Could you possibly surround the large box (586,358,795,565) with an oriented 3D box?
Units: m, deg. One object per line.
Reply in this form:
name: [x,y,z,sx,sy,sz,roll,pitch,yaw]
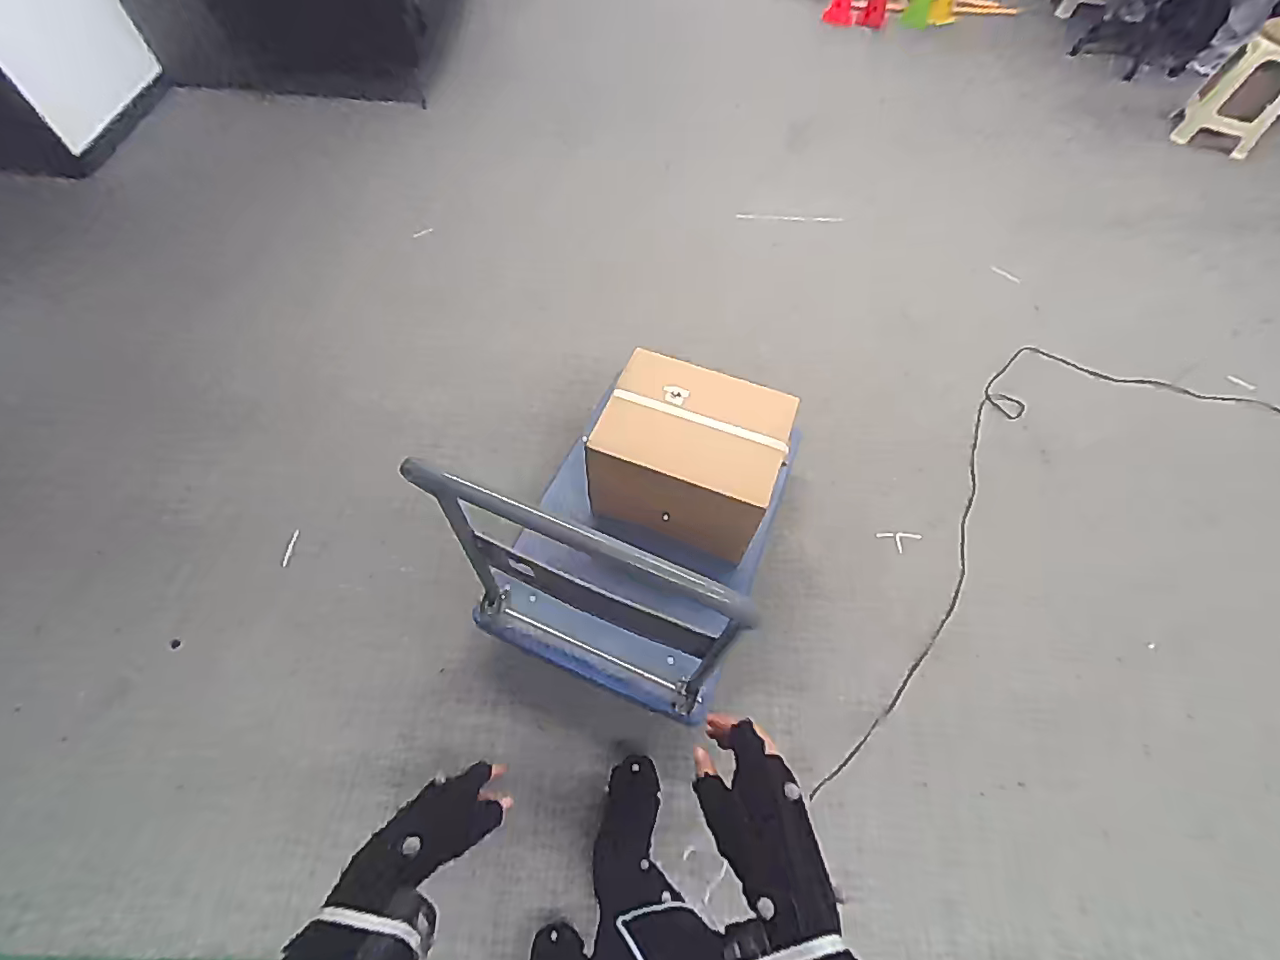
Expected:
large box: [0.120,-0.038,1.325,0.408,0.320,0.320,19,59,10]
